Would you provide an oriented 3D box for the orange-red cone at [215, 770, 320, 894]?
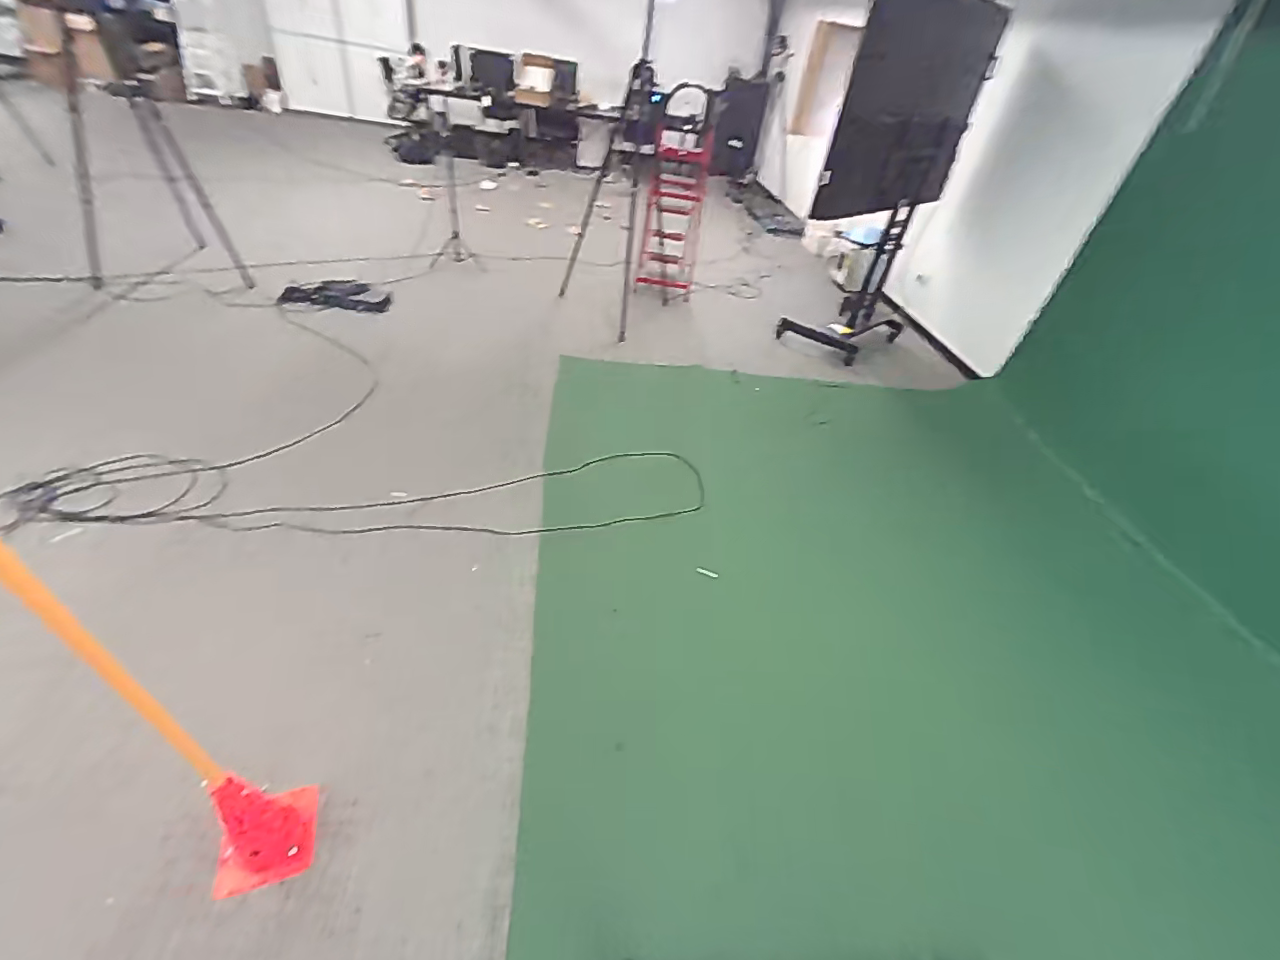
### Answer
[{"bbox_3d":[-0.889,0.755,1.233,0.198,0.360,0.199,-6,41,-20],"label":"orange-red cone"}]
